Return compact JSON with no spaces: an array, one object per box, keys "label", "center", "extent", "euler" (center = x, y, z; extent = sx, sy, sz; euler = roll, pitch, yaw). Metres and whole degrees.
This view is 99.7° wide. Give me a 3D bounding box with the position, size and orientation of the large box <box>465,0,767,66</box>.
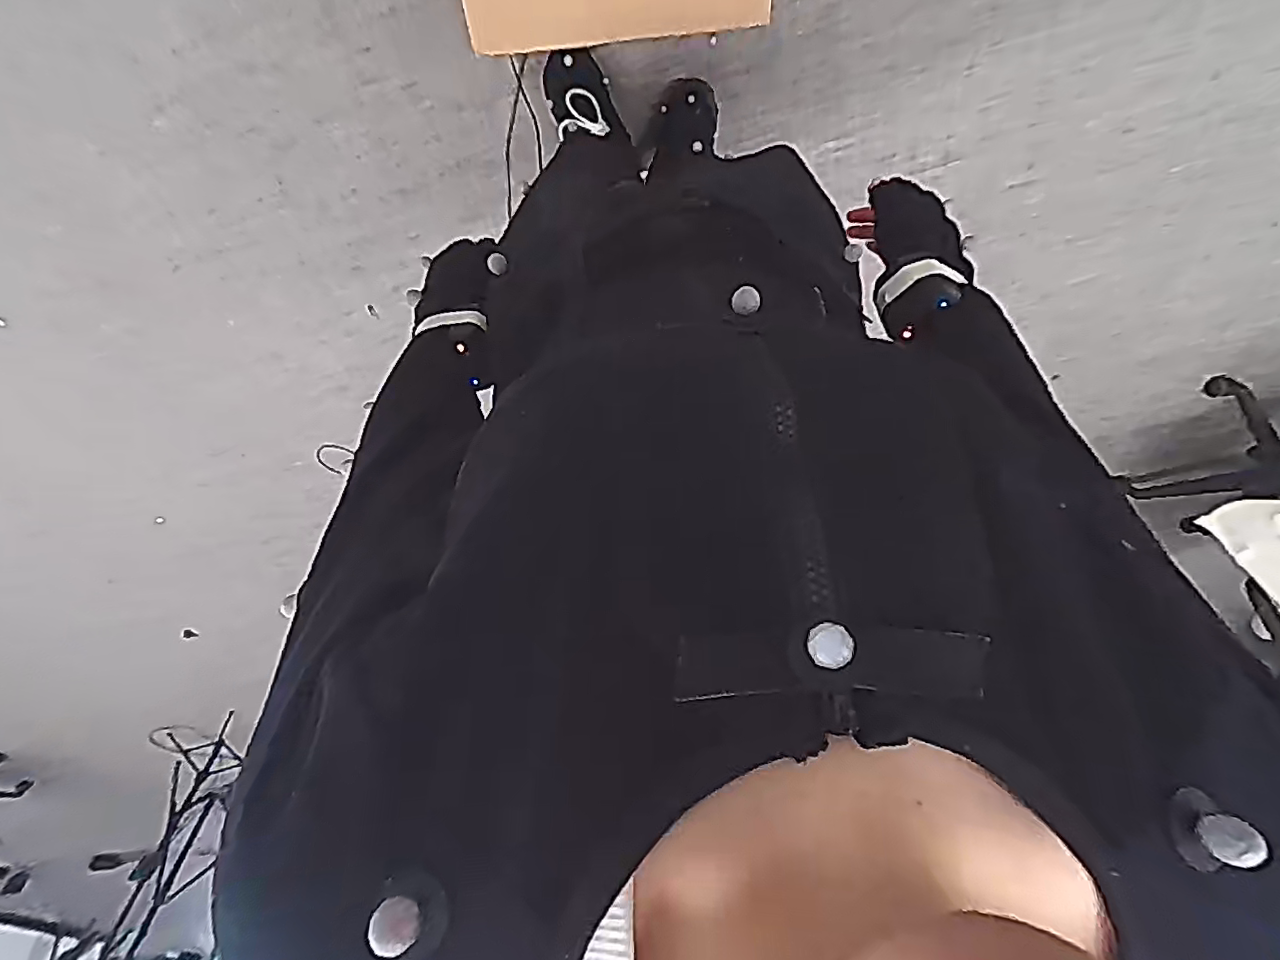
[{"label":"large box","center":[-0.043,-0.806,0.755],"extent":[0.408,0.320,0.320],"euler":[-5,130,2]}]
